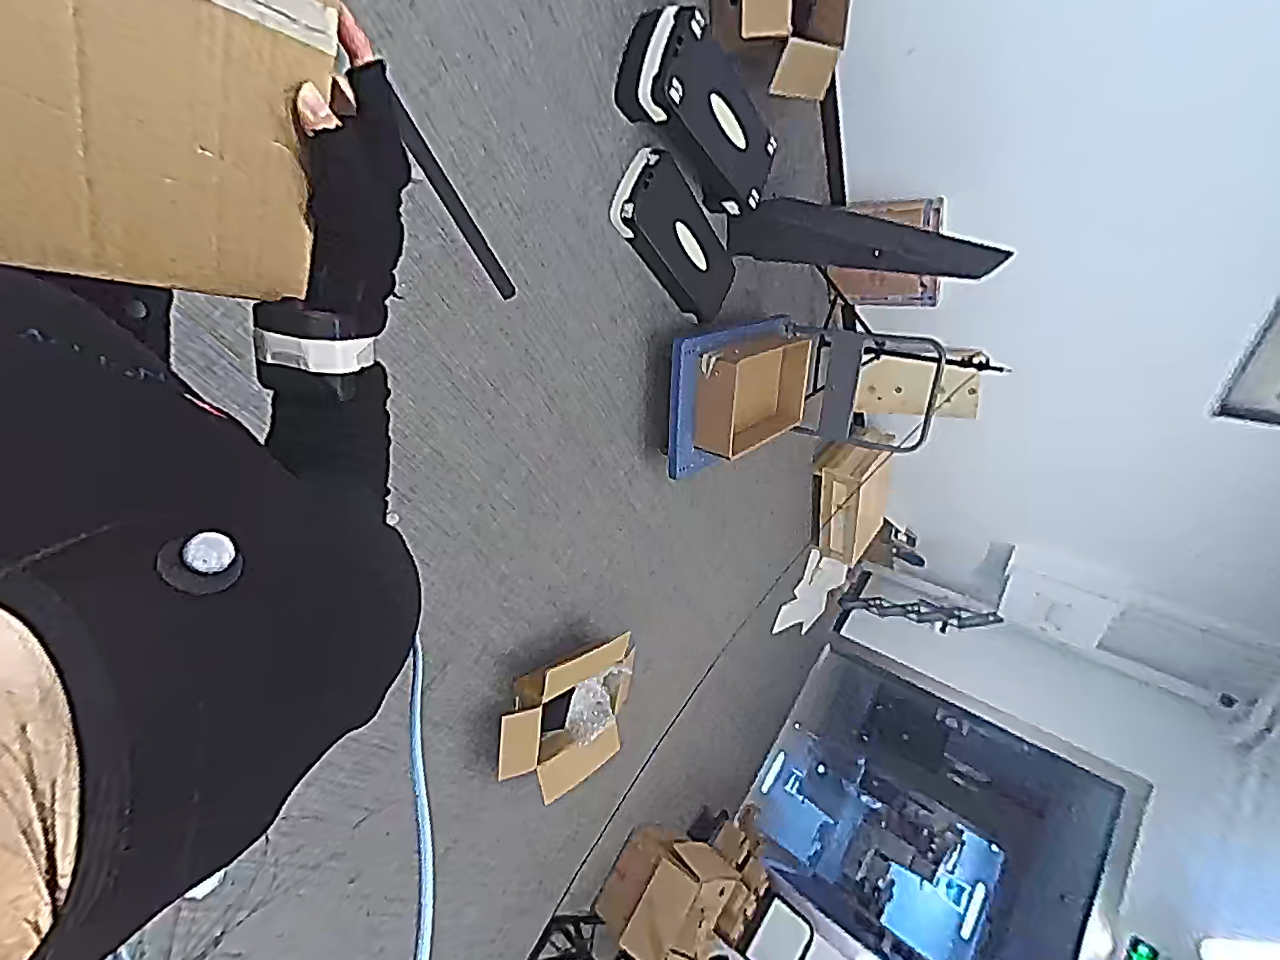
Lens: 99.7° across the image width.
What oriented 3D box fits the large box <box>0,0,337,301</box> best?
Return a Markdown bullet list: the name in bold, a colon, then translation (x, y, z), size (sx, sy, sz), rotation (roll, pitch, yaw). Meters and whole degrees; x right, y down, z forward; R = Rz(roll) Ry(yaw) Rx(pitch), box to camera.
- **large box**: translation (-0.404, -0.316, 0.243), size (0.408, 0.320, 0.320), rotation (-6, 133, -46)
